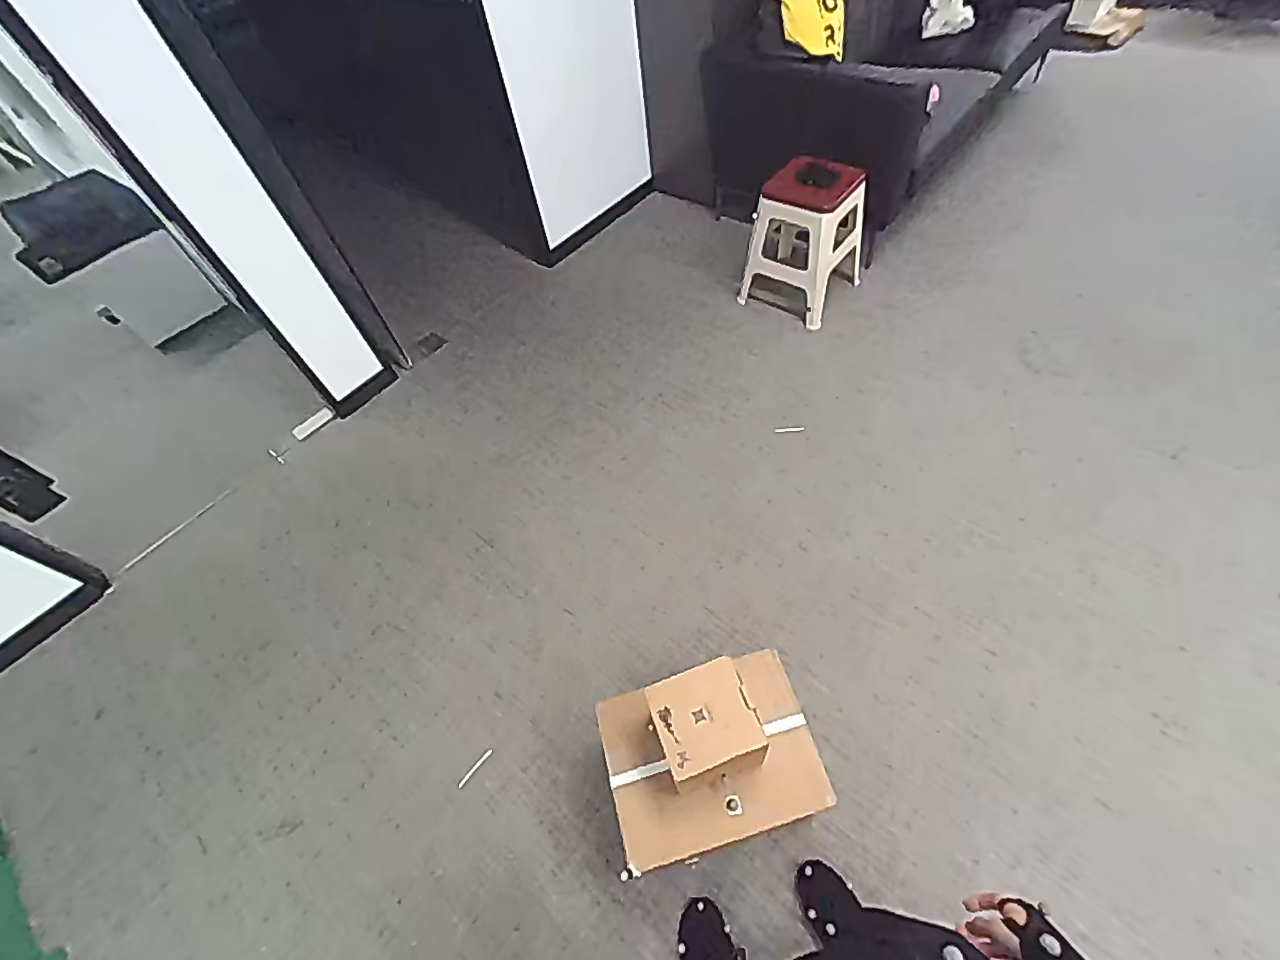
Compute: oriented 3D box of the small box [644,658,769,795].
[{"bbox_3d":[0.119,0.461,1.007,0.179,0.176,0.168,-18,52,-7],"label":"small box"}]
